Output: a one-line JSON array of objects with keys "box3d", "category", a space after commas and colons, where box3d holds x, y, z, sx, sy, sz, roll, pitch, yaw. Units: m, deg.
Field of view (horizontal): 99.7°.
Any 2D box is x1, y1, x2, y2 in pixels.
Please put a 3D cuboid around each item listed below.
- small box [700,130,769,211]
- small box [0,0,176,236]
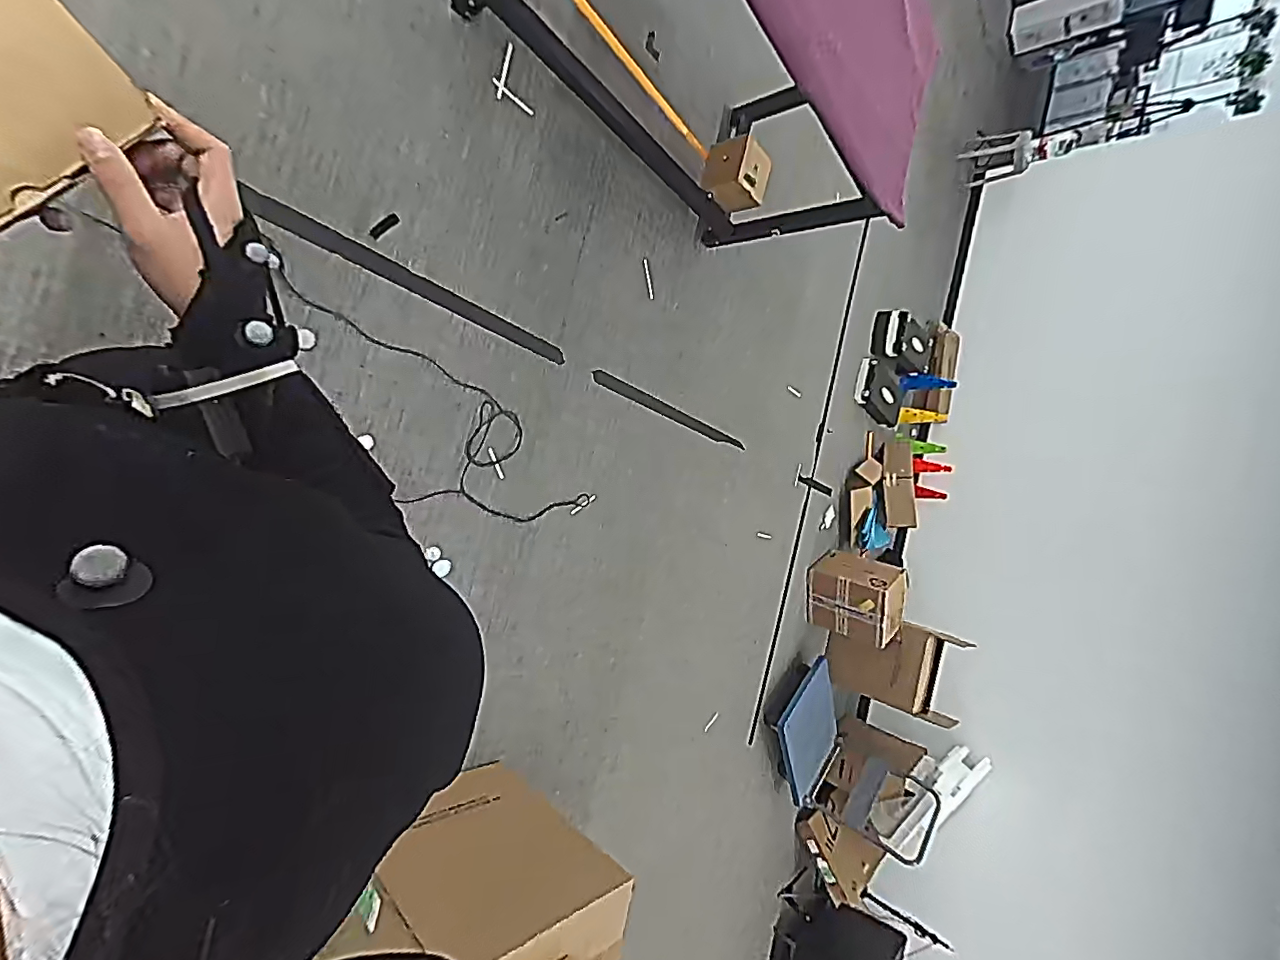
[{"box3d": [0.335, -1.101, 1.942, 0.168, 0.176, 0.179, 18, 85, -48], "category": "small box"}, {"box3d": [-0.399, -0.225, 0.274, 0.168, 0.176, 0.179, -48, 138, -17], "category": "small box"}]
